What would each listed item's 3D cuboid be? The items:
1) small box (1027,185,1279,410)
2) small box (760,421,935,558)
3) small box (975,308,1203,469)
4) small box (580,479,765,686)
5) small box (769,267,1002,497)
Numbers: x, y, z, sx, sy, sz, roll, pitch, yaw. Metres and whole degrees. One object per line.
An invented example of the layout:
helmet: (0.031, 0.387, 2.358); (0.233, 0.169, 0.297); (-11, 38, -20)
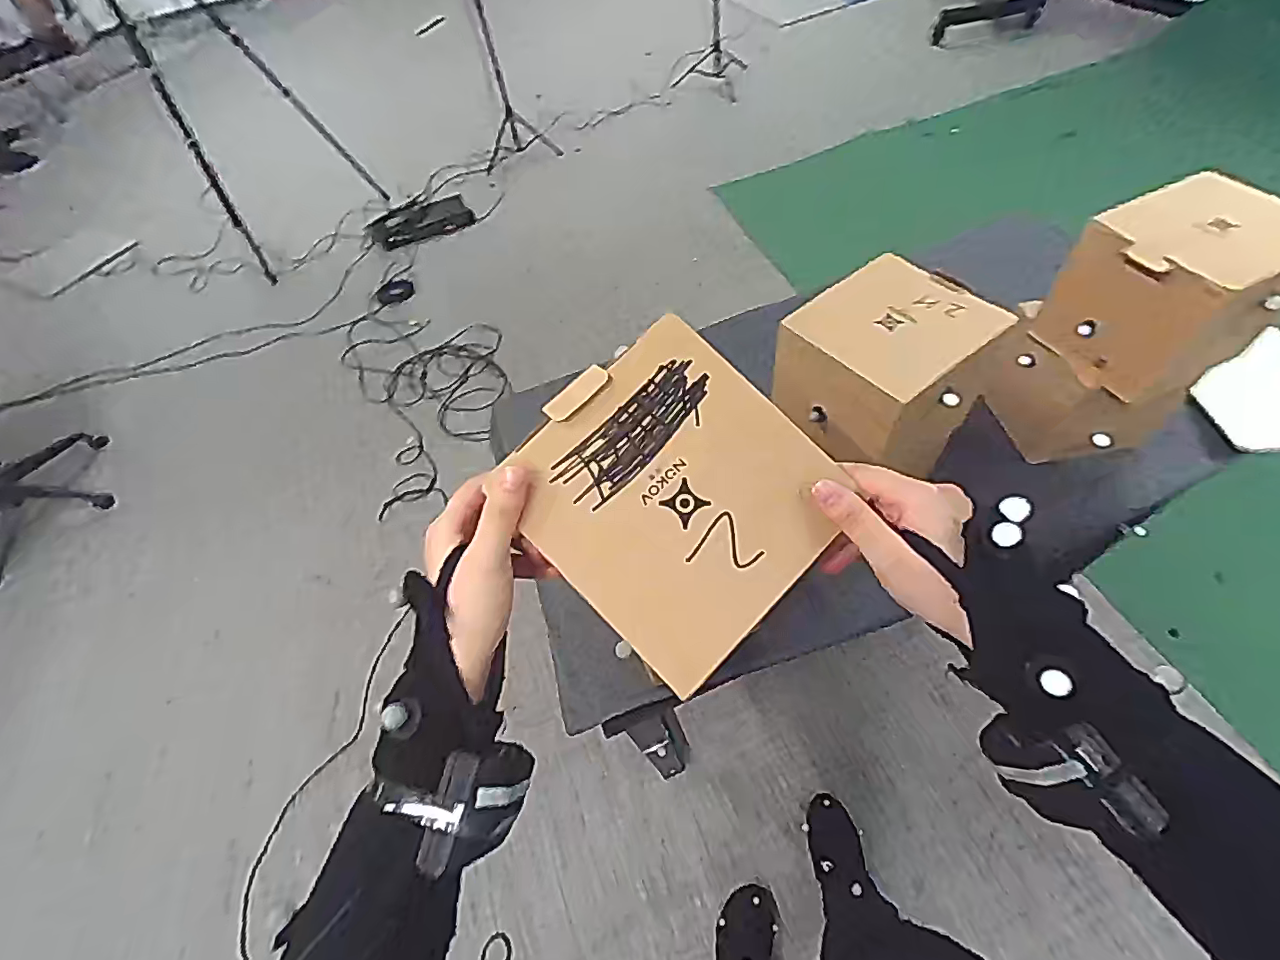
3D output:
small box: (0.632, -0.218, 0.660); (0.179, 0.176, 0.168); (-23, 54, -6)
small box: (0.290, -0.020, 0.778); (0.179, 0.176, 0.168); (-36, 58, -17)
small box: (0.641, -0.142, 0.806); (0.168, 0.176, 0.179); (-10, 55, 3)
small box: (0.041, 0.136, 0.704); (0.168, 0.176, 0.179); (-26, 56, -10)
small box: (0.271, -0.111, 0.642); (0.179, 0.176, 0.168); (-34, 58, -15)
